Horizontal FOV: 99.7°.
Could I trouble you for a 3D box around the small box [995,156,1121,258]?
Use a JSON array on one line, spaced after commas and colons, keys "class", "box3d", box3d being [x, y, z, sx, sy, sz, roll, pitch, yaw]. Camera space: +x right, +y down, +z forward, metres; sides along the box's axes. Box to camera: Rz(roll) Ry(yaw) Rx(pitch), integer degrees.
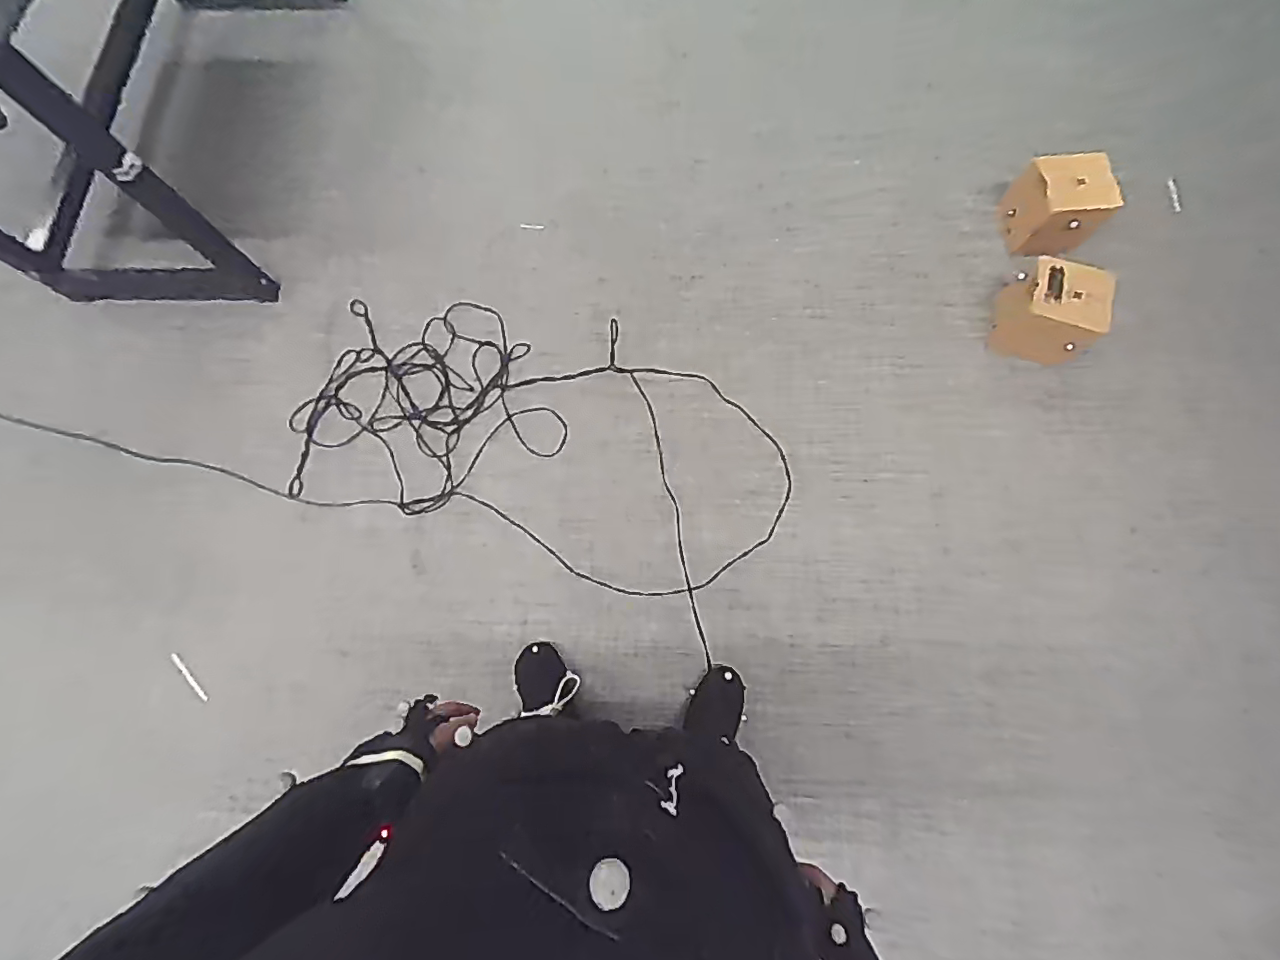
[{"class": "small box", "box3d": [1.067, -0.697, 1.394, 0.179, 0.176, 0.168, -3, 75, 1]}]
